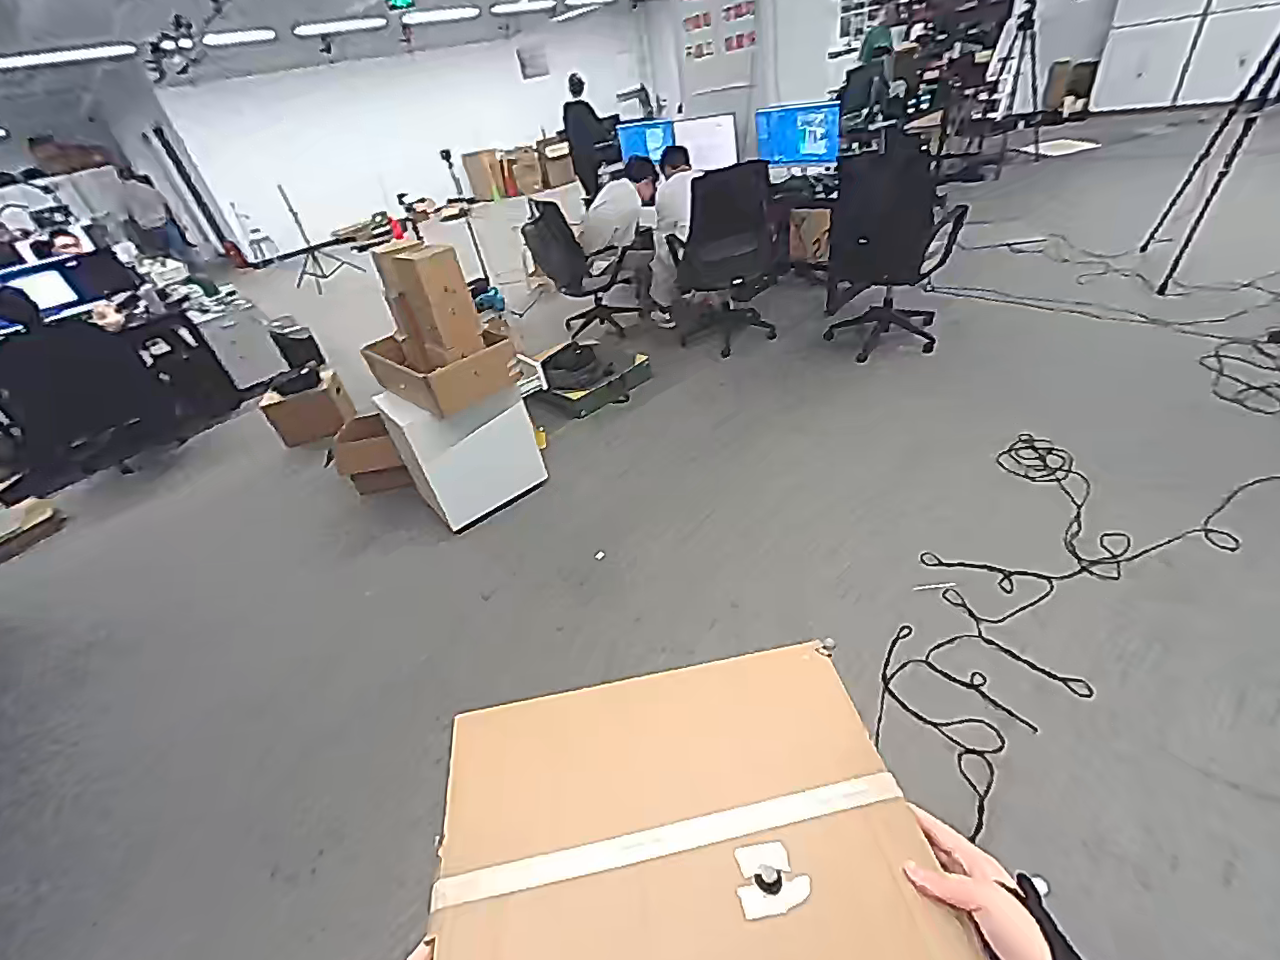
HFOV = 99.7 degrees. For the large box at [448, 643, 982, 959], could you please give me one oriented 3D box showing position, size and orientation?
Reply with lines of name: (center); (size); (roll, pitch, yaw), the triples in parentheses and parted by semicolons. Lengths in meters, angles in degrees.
large box: (0.042, 0.426, 0.572); (0.408, 0.320, 0.320); (-9, 39, -6)
